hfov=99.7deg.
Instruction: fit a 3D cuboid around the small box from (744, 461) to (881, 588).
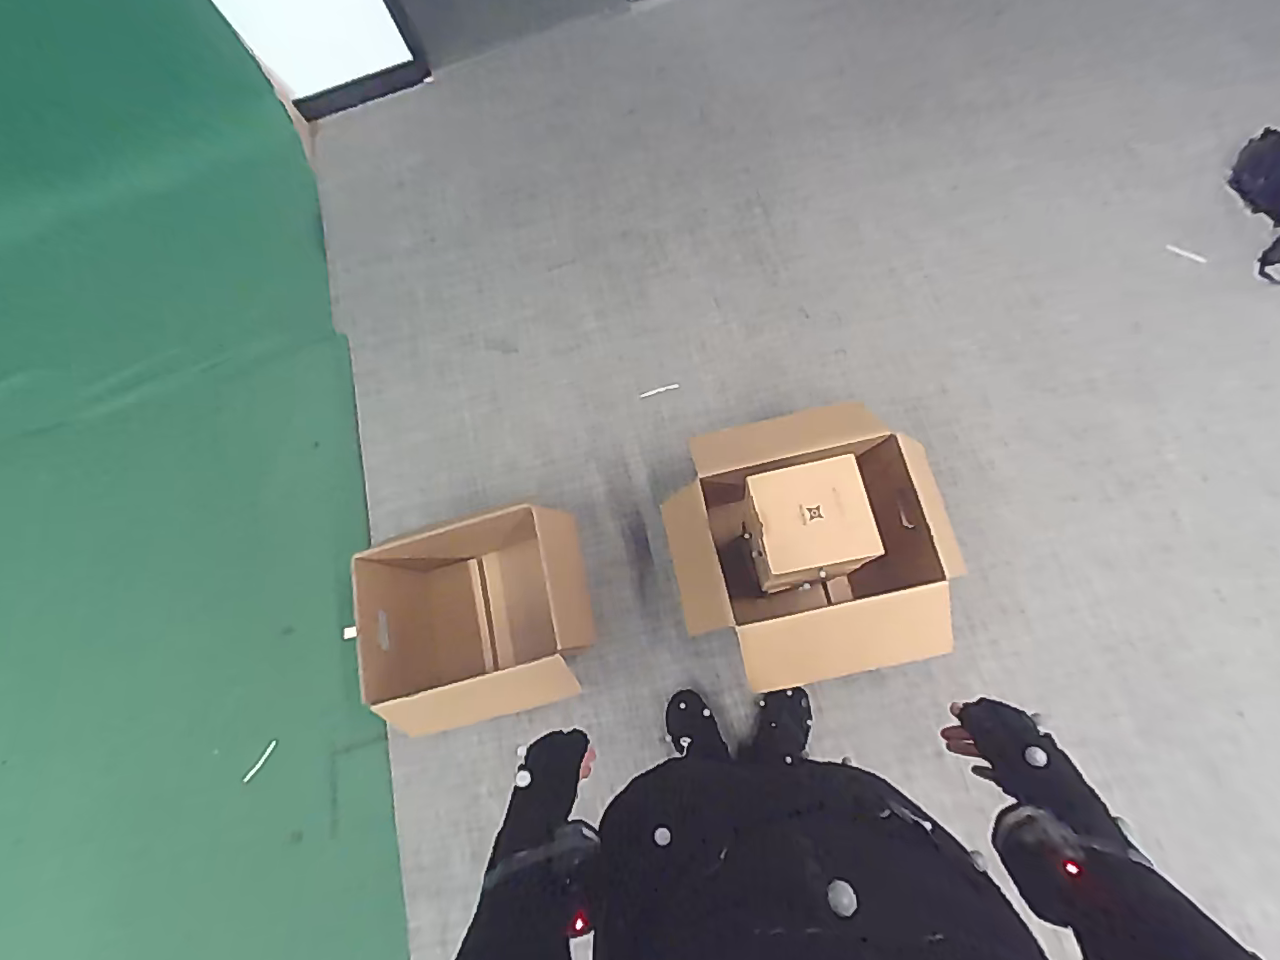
[{"bbox_3d":[0.284,0.085,0.933,0.179,0.176,0.168,-14,74,5],"label":"small box"}]
